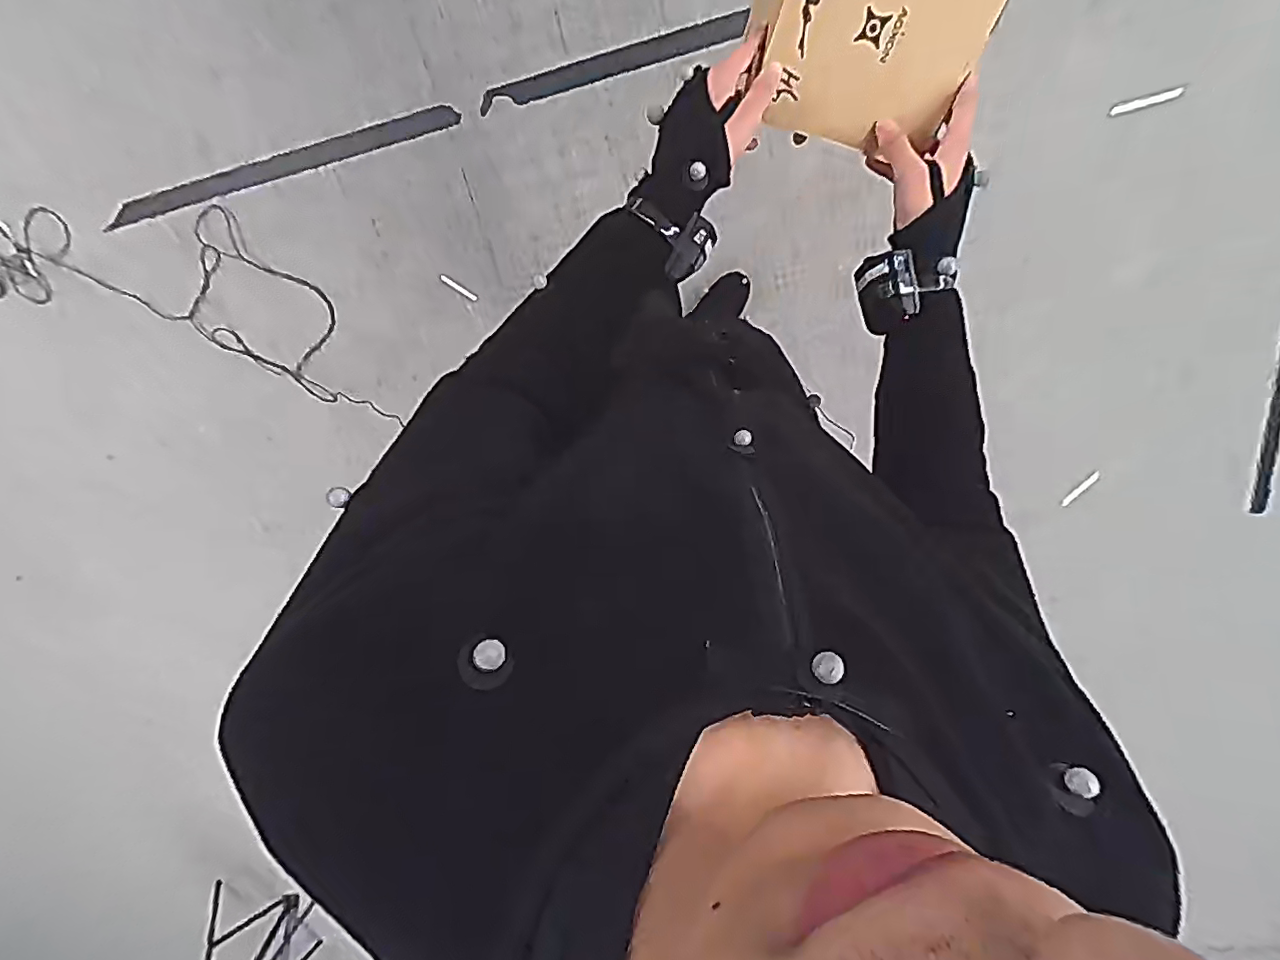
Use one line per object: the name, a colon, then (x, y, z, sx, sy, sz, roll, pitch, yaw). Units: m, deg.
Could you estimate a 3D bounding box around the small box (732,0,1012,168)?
small box: (0.201, -0.418, 0.499, 0.179, 0.176, 0.168, 12, 130, -9)
